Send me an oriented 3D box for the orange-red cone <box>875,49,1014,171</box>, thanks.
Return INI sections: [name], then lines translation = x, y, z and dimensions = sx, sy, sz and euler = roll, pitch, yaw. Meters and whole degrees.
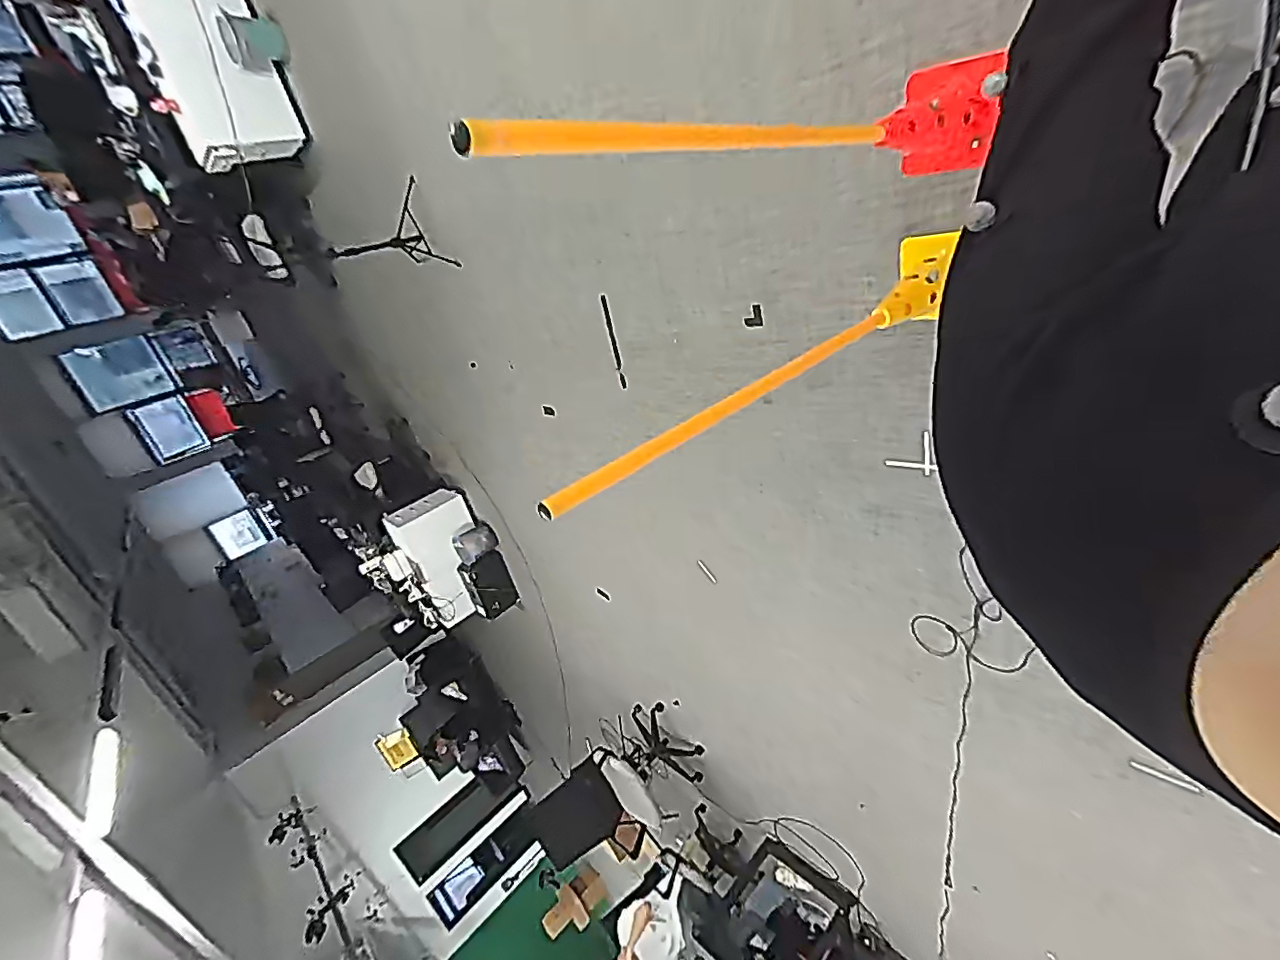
[orange-red cone]
translation = 0.551, -0.702, 1.052
dimensions = 0.198, 0.360, 0.199
euler = 20, 130, 41
